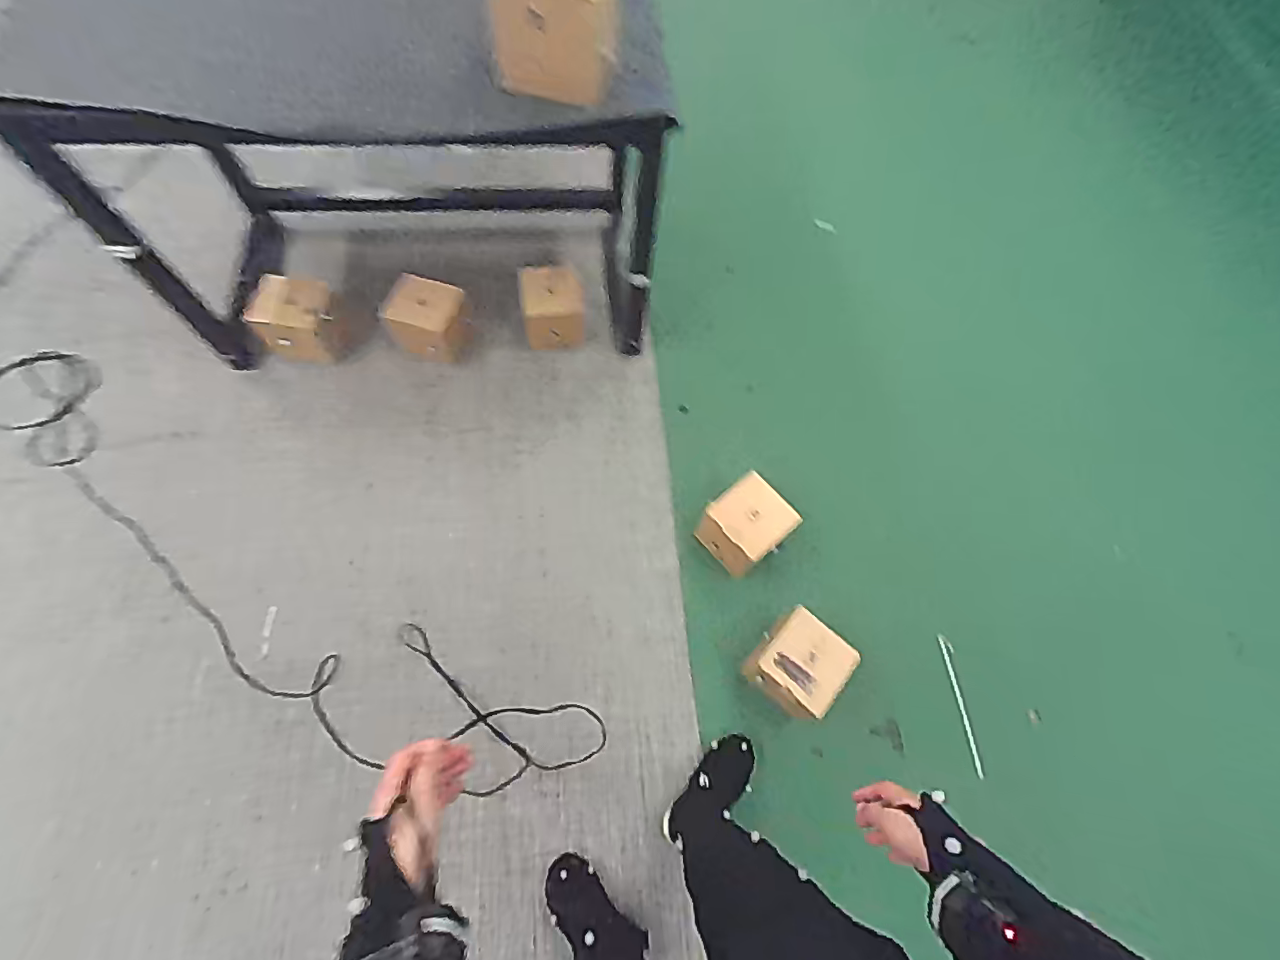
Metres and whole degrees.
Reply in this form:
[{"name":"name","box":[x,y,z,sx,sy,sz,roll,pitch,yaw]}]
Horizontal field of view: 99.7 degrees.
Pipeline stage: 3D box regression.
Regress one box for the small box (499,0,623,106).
[{"name":"small box","box":[-0.136,-0.800,0.955,0.179,0.176,0.168,16,64,4]}]

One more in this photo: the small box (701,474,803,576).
[{"name":"small box","box":[0.278,0.120,1.388,0.179,0.176,0.168,-37,74,-18]}]

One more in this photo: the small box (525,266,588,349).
[{"name":"small box","box":[-0.248,-0.508,1.619,0.168,0.176,0.179,-7,67,-9]}]

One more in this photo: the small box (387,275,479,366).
[{"name":"small box","box":[-0.590,-0.457,1.571,0.179,0.176,0.168,15,65,4]}]

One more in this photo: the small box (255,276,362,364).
[{"name":"small box","box":[-0.936,-0.451,1.542,0.179,0.176,0.168,8,66,0]}]
